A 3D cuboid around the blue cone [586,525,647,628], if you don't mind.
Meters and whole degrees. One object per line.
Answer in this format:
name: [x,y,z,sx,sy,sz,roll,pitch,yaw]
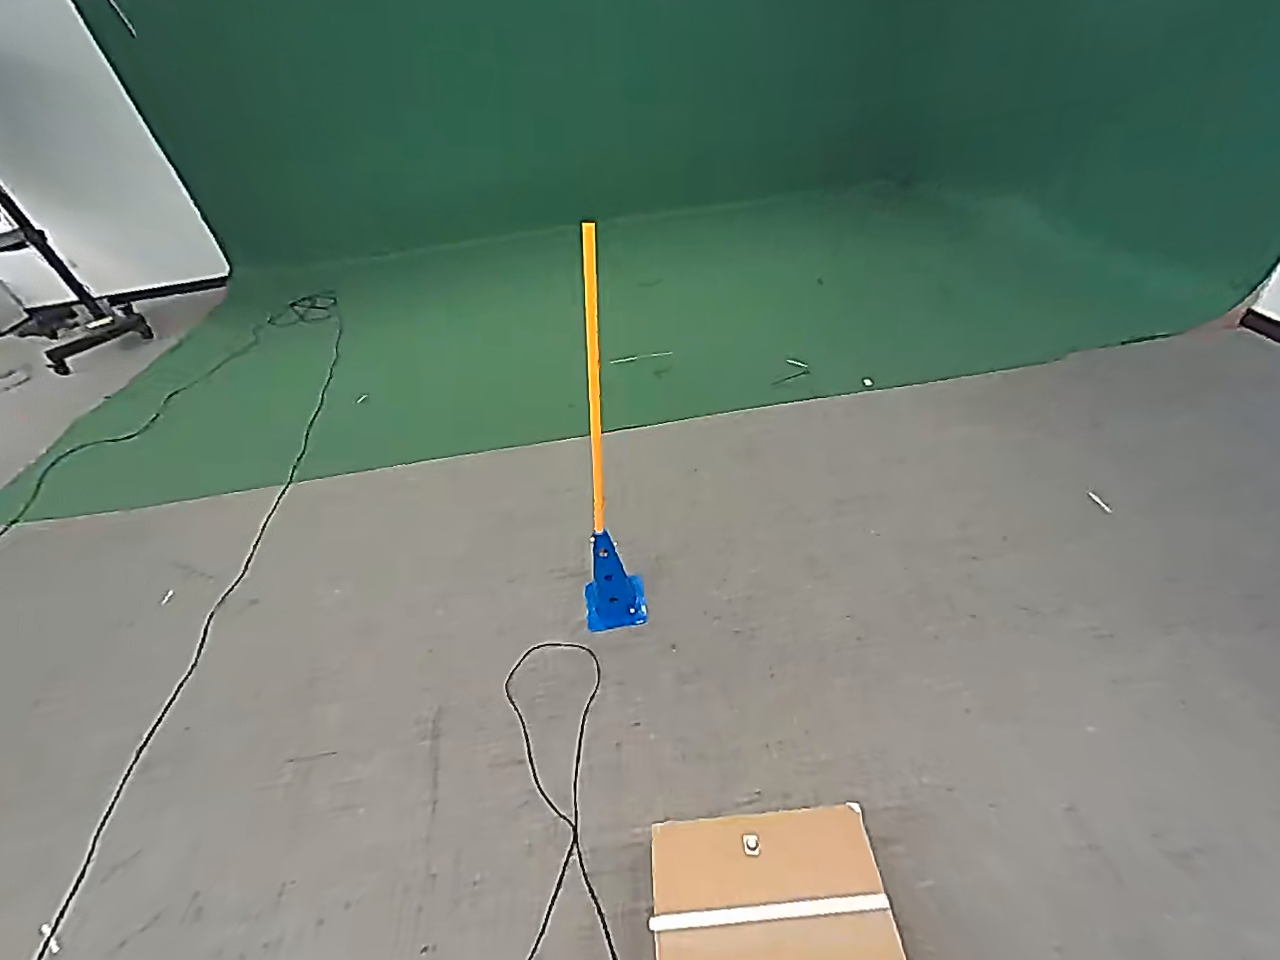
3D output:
blue cone: [-0.096,0.276,1.698,0.193,0.380,0.192,-10,41,-4]
